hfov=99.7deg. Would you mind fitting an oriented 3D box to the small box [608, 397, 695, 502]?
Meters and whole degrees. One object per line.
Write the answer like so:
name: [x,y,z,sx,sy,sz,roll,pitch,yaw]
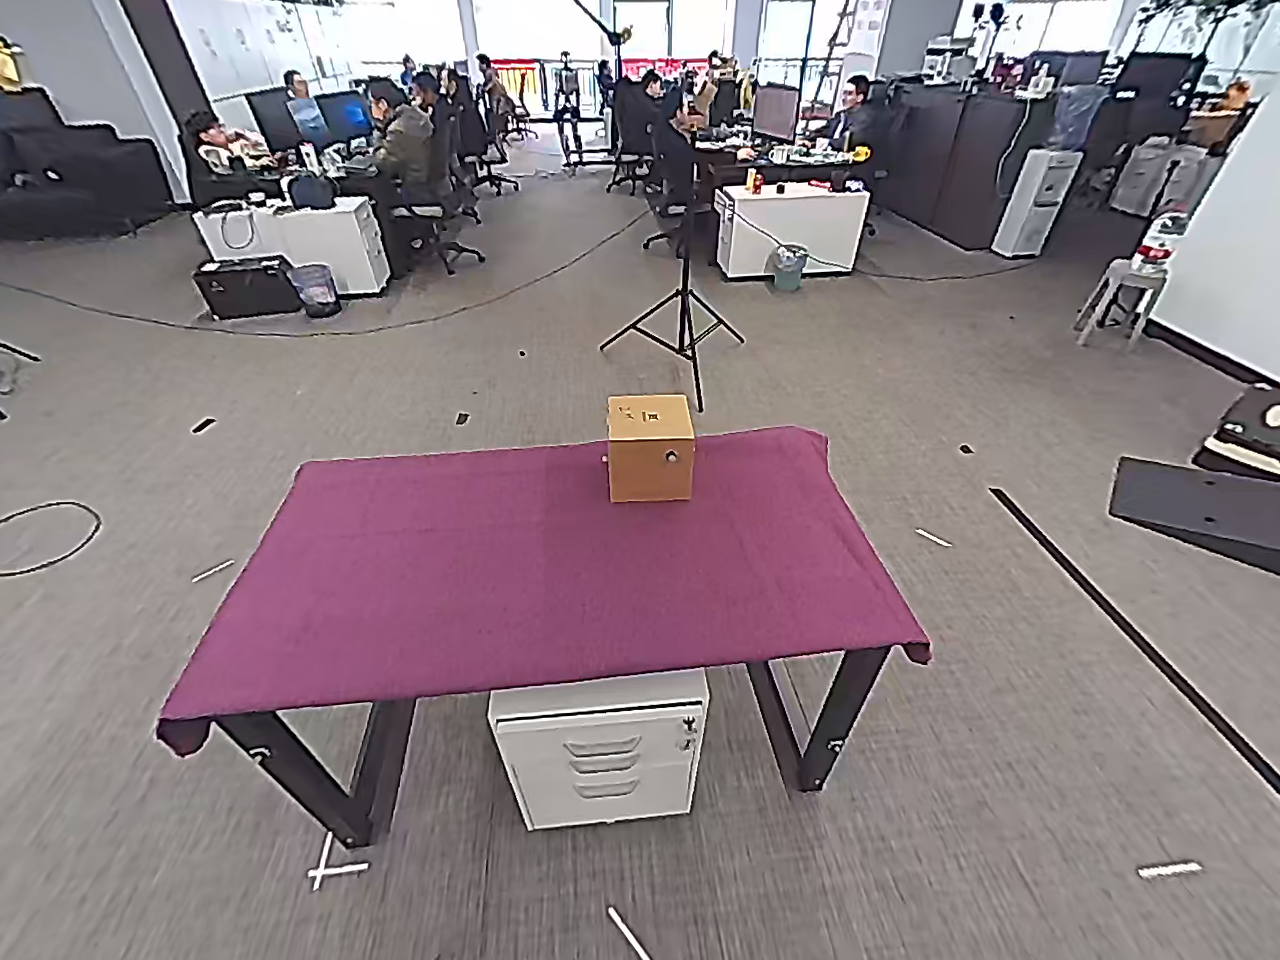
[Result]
small box: [0.020,-0.066,1.184,0.179,0.176,0.168,-3,40,-2]
